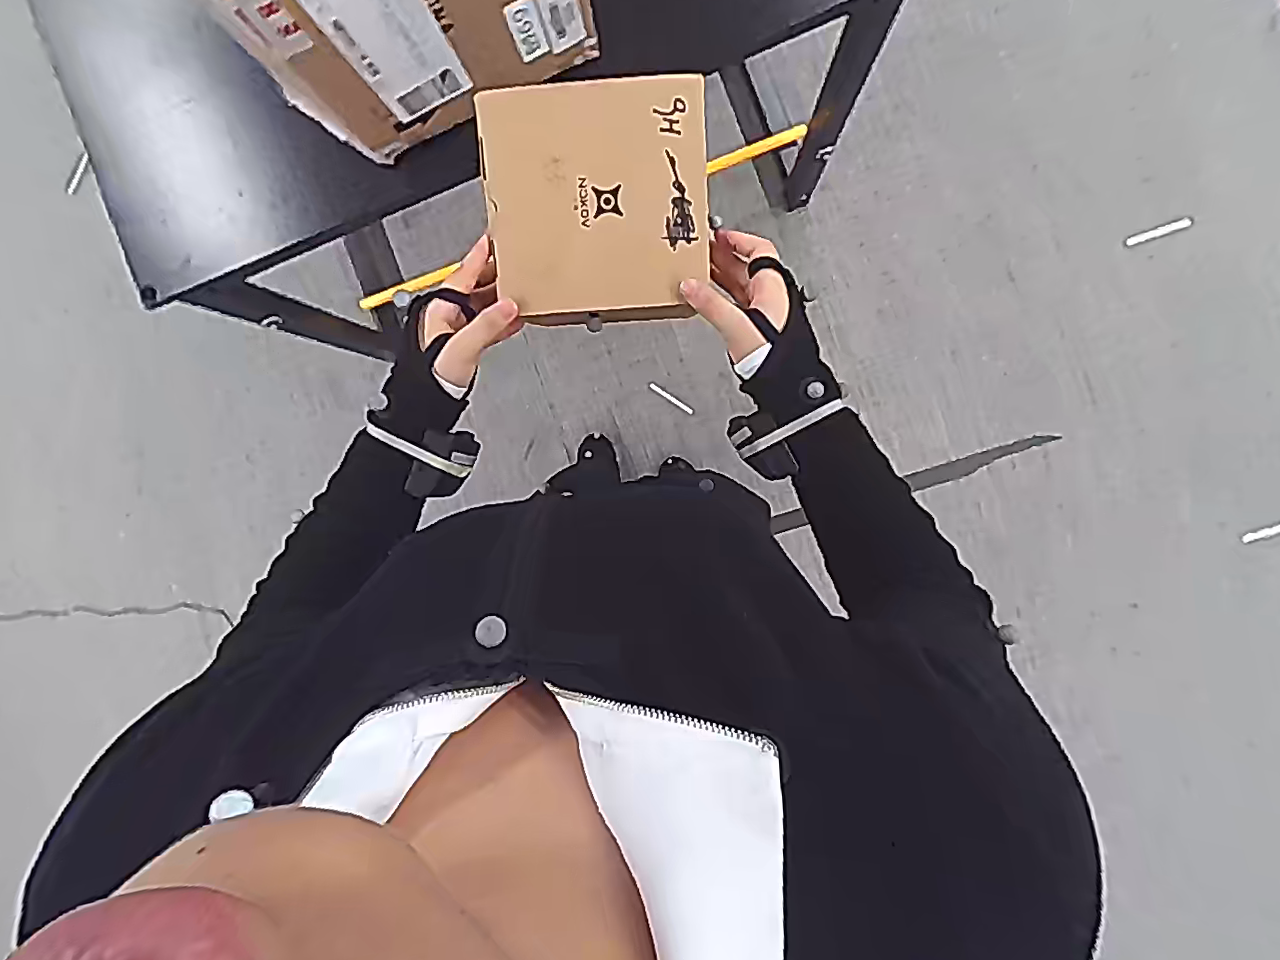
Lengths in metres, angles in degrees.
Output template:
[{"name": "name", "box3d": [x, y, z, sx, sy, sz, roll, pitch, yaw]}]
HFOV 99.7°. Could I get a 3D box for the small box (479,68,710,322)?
[{"name": "small box", "box3d": [-0.030, -0.238, 0.496, 0.179, 0.176, 0.168, -2, 102, 2]}]
